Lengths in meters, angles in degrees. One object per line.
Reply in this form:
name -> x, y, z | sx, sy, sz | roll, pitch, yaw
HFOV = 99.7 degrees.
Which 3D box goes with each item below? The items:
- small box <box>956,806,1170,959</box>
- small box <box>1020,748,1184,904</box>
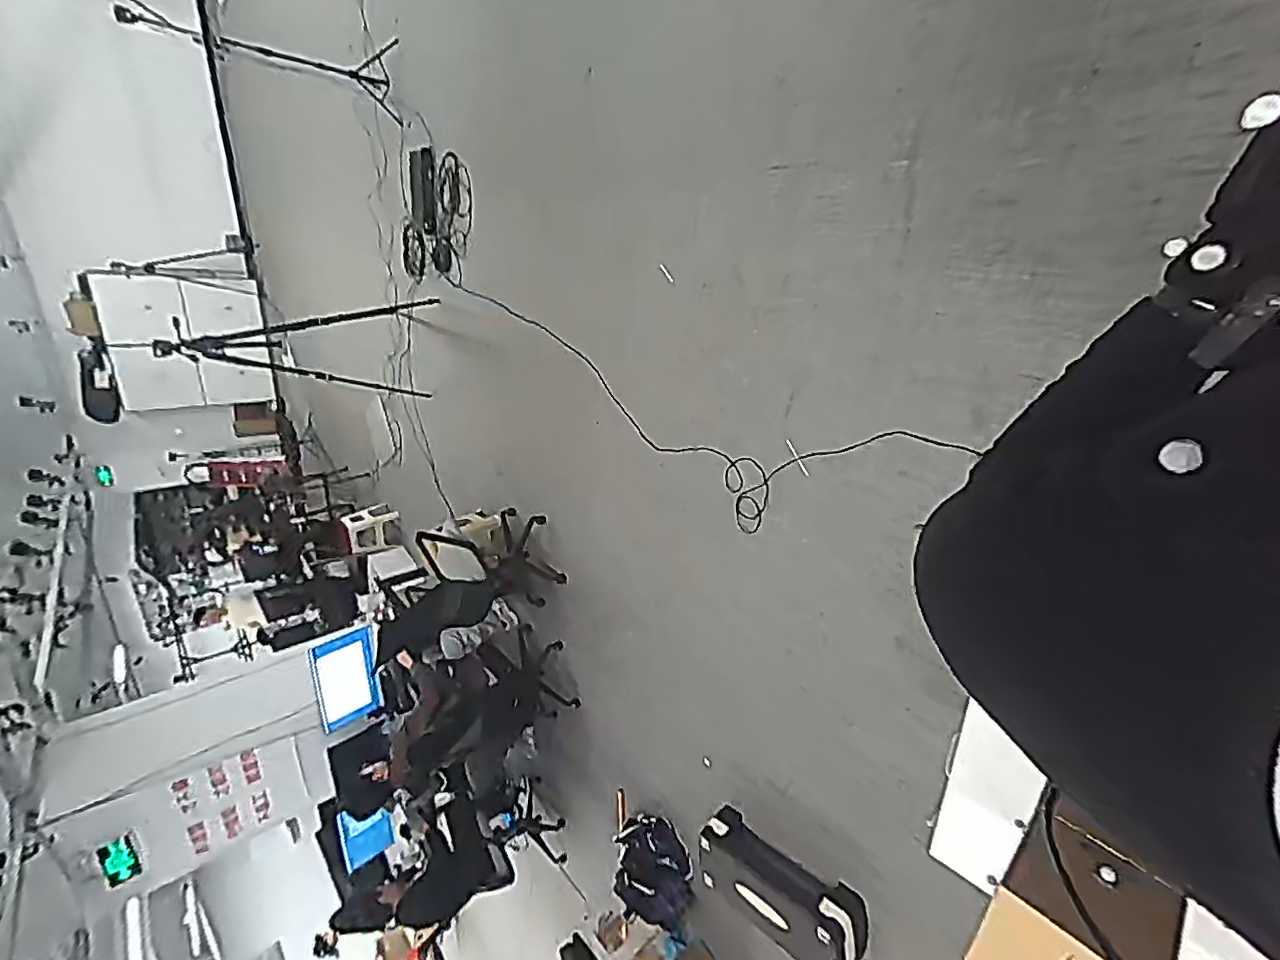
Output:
small box -> 0.554, 0.587, 0.711 | 0.168, 0.176, 0.179 | 25, 120, 43
small box -> 0.676, 0.551, 0.814 | 0.168, 0.176, 0.179 | 24, 121, 44
